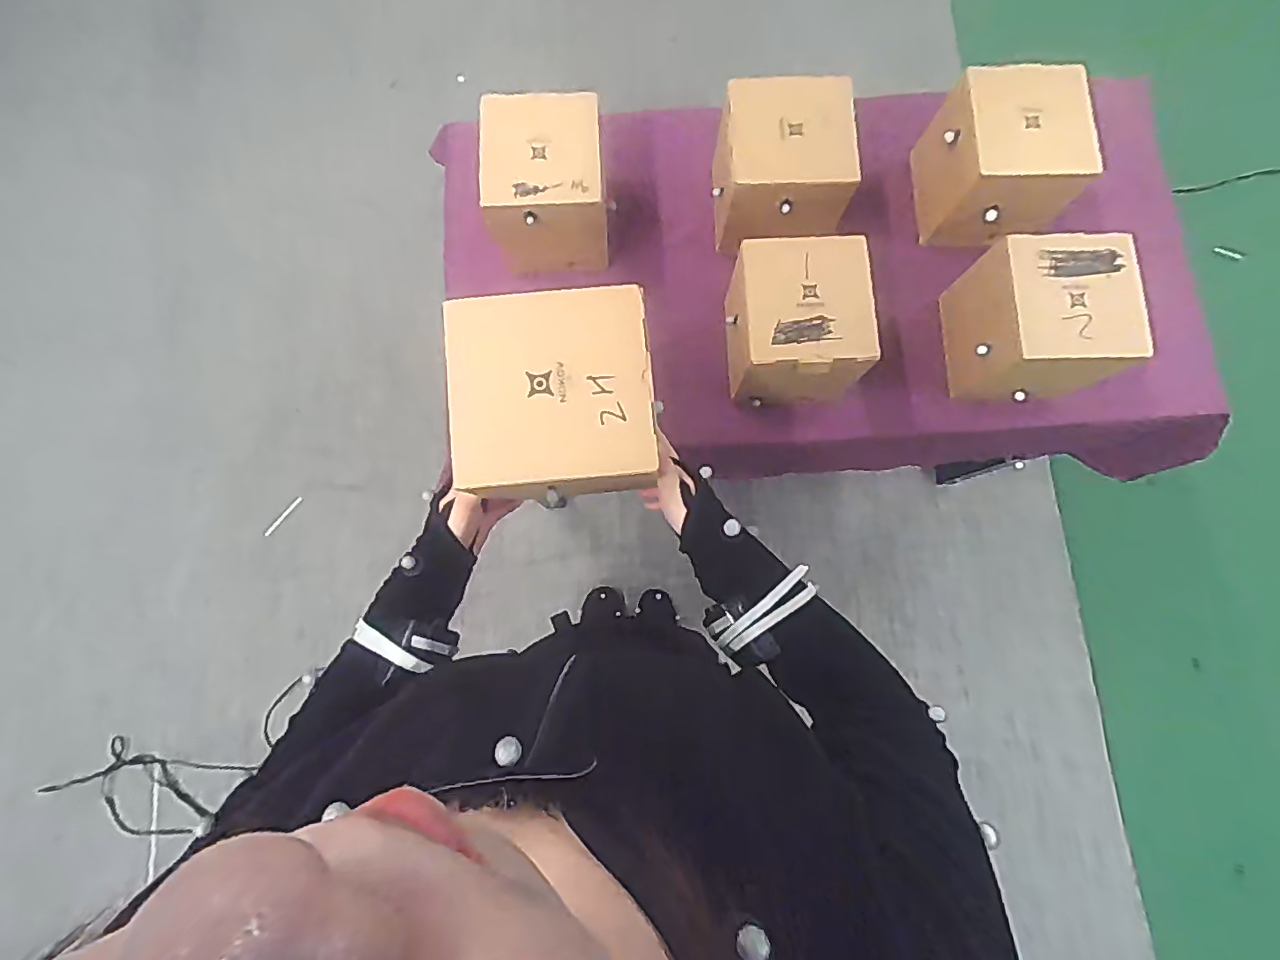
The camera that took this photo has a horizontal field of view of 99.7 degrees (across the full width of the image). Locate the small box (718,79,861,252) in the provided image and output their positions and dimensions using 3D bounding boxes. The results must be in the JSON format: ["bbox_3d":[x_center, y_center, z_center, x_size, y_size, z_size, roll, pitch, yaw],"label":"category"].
[{"bbox_3d":[0.213,-0.464,0.821,0.179,0.176,0.168,0,81,0],"label":"small box"}]

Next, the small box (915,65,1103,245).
[{"bbox_3d":[0.541,-0.477,0.817,0.168,0.176,0.179,0,80,1],"label":"small box"}]

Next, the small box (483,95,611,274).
[{"bbox_3d":[-0.132,-0.439,0.821,0.168,0.176,0.179,-2,79,0],"label":"small box"}]

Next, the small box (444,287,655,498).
[{"bbox_3d":[-0.078,-0.073,0.539,0.179,0.176,0.168,-4,85,-1],"label":"small box"}]

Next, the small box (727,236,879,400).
[{"bbox_3d":[0.221,-0.219,0.775,0.168,0.176,0.179,-2,79,1],"label":"small box"}]
